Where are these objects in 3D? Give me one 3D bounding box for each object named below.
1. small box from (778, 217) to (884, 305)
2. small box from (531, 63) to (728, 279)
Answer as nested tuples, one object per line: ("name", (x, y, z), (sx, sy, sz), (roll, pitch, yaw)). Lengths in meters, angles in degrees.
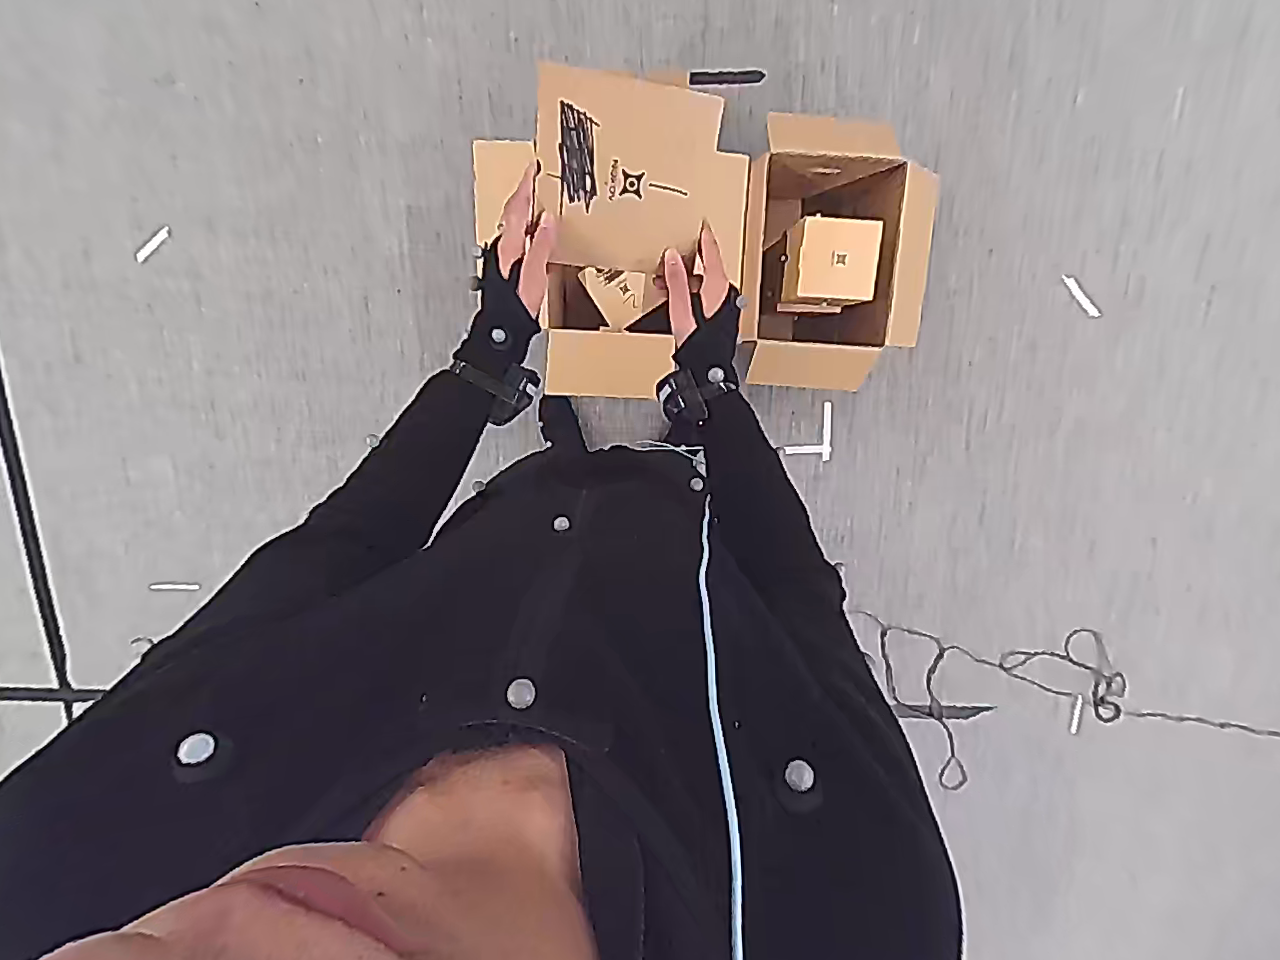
("small box", (0.436, -0.503, 1.259), (0.179, 0.176, 0.168), (3, 104, -1))
("small box", (-0.019, -0.334, 0.601), (0.179, 0.176, 0.168), (6, 120, -7))
